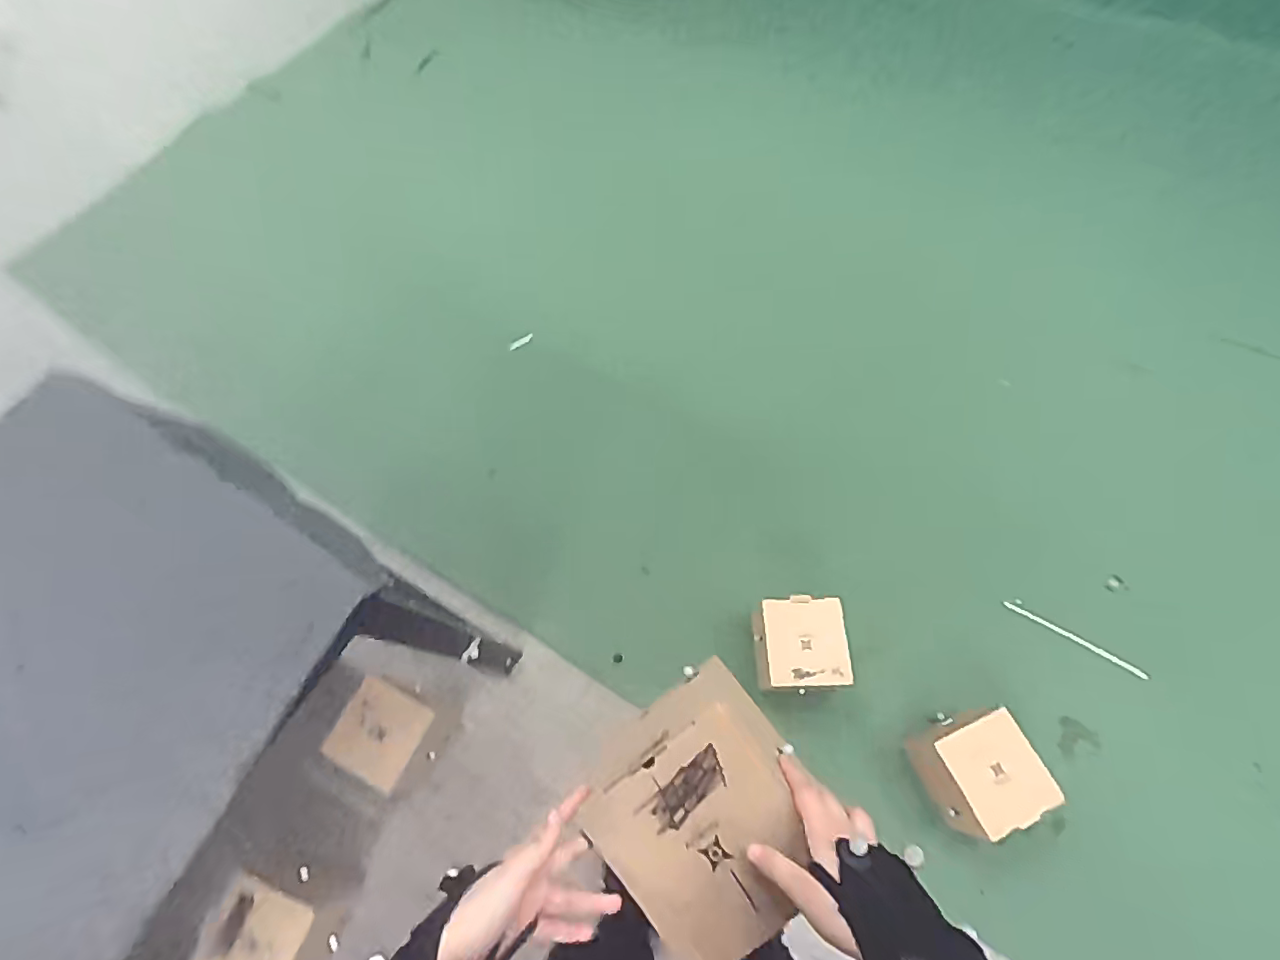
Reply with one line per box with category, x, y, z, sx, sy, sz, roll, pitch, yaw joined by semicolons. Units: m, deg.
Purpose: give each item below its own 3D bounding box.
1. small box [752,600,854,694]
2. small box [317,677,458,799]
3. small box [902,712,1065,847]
small box;0.341;0.365;1.171;0.168;0.176;0.179;-2;66;2
small box;-0.516;0.533;1.136;0.179;0.176;0.168;24;69;12
small box;0.659;0.576;1.063;0.168;0.176;0.179;-23;66;-8
